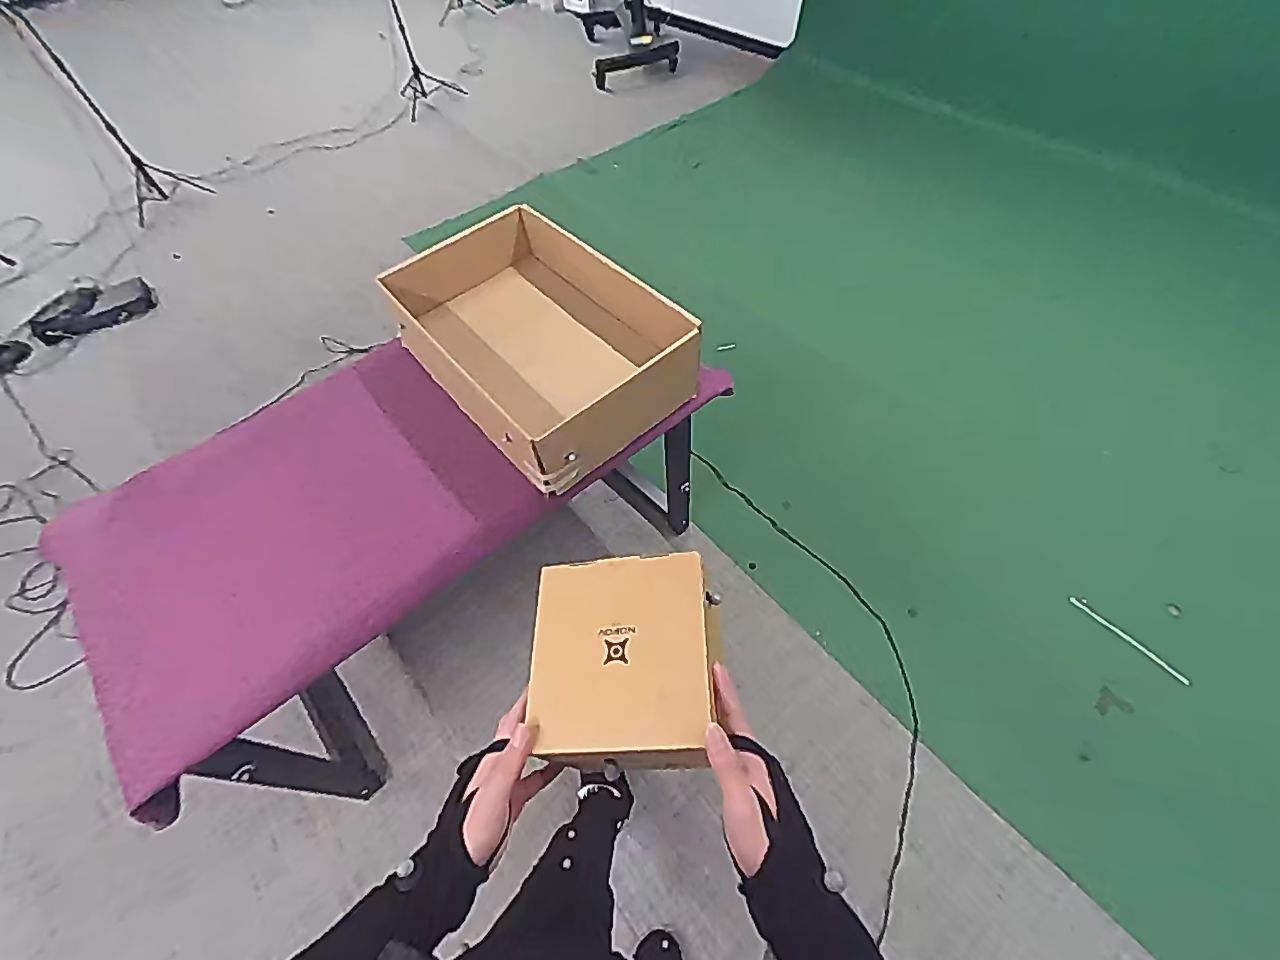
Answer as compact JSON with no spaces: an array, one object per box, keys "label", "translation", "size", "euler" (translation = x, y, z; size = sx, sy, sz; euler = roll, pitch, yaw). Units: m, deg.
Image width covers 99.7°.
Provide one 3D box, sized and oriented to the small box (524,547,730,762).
[{"label":"small box","translation":[-0.003,0.190,0.561],"size":[0.168,0.176,0.179],"euler":[-8,55,12]}]
